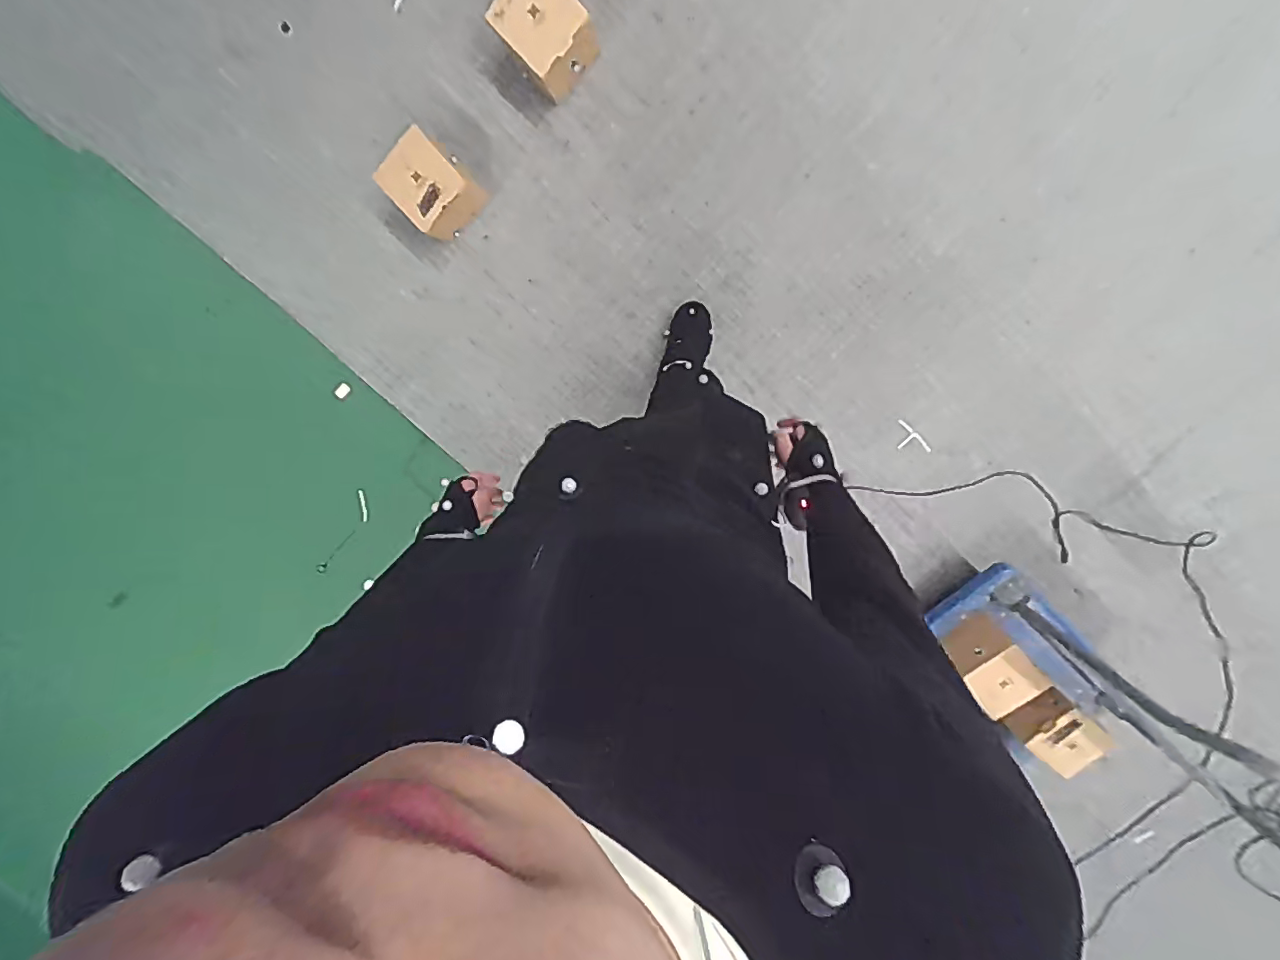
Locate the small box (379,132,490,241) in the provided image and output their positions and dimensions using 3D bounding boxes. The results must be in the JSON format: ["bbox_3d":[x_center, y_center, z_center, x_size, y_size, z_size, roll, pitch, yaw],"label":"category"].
[{"bbox_3d":[-0.518,-0.740,1.392,0.168,0.176,0.179,-40,99,14],"label":"small box"}]

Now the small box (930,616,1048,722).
[{"bbox_3d":[0.932,0.503,1.463,0.179,0.176,0.168,-42,100,15],"label":"small box"}]

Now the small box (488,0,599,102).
[{"bbox_3d":[-0.215,-1.028,1.261,0.168,0.176,0.179,-43,100,15],"label":"small box"}]
